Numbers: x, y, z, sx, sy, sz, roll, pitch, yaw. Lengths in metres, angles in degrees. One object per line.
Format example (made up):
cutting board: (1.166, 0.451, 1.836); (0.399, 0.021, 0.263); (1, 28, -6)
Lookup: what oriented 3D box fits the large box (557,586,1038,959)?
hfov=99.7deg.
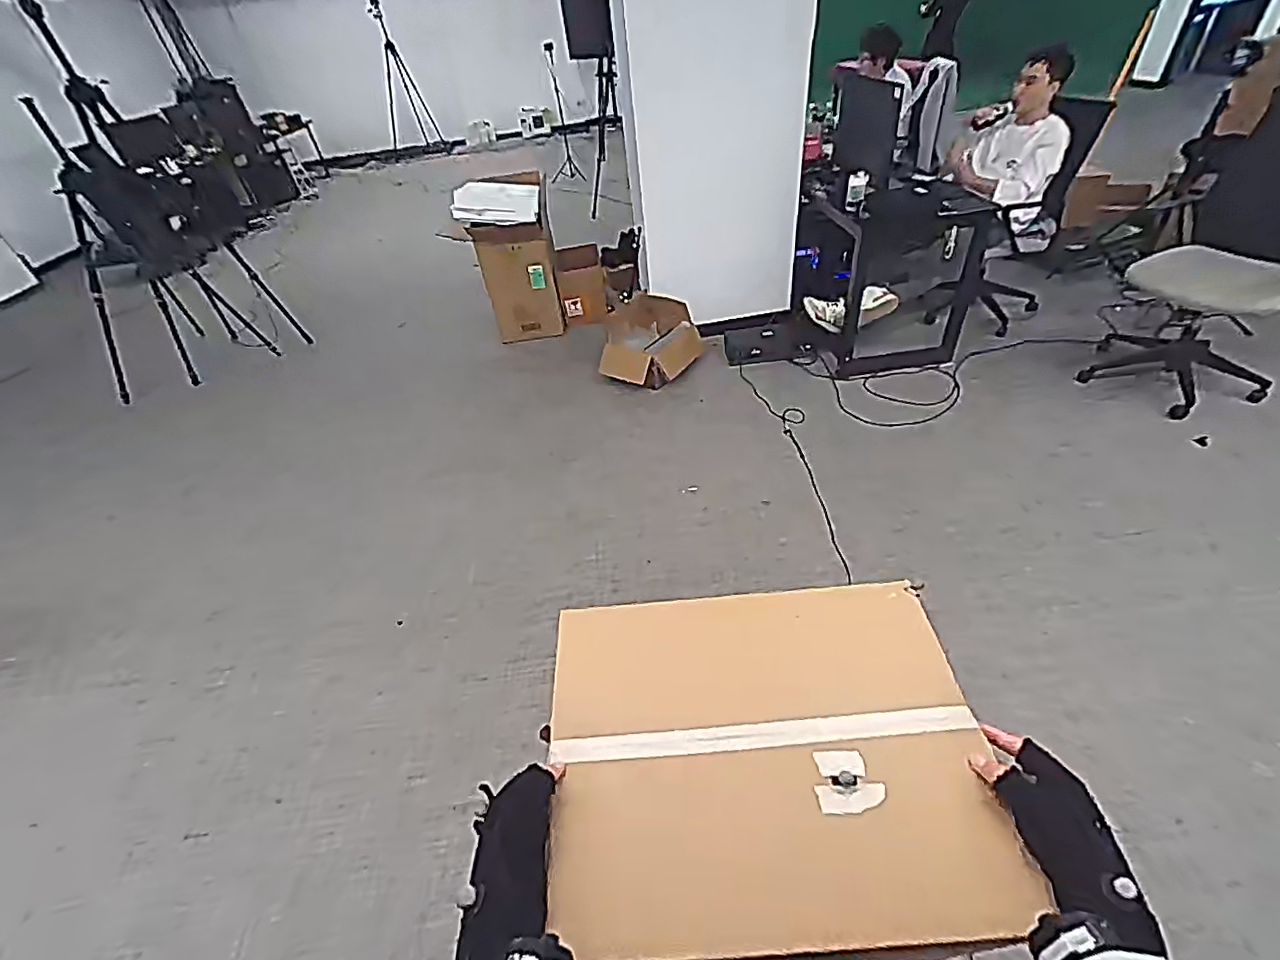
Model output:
large box: (0.129, 0.359, 0.647); (0.408, 0.320, 0.320); (-6, 46, 1)
